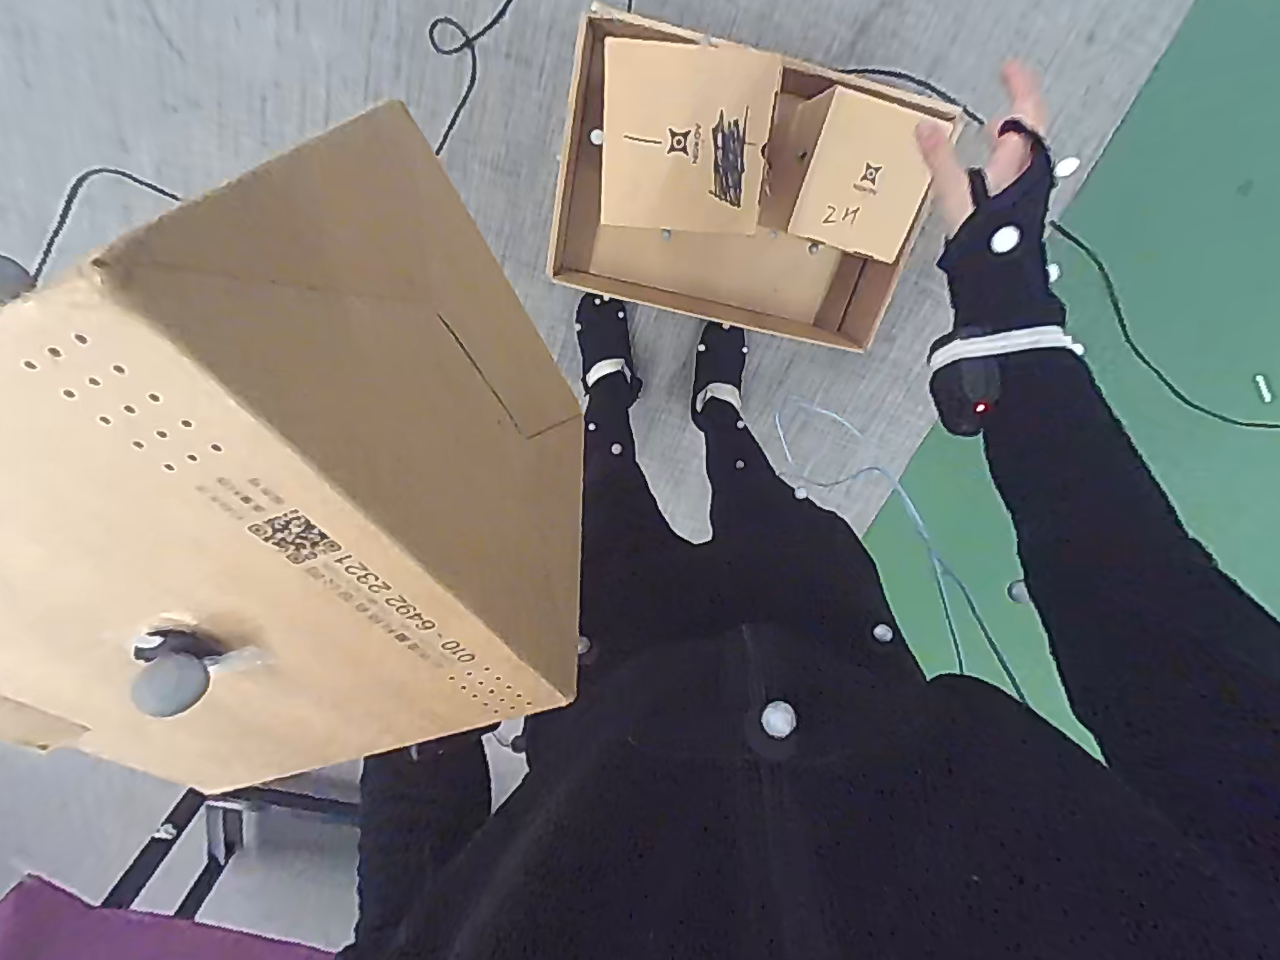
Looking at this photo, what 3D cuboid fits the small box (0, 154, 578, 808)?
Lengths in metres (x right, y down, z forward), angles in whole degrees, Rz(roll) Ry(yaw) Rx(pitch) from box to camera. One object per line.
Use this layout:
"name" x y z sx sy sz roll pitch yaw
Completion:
"small box" -0.135 0.001 0.218 0.176 0.179 0.168 -18 131 14

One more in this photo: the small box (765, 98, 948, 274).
"small box" 0.298 -0.422 0.793 0.168 0.176 0.179 13 117 -7

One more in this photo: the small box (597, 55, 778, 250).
"small box" 0.042 -0.373 0.634 0.179 0.176 0.168 3 118 -3
